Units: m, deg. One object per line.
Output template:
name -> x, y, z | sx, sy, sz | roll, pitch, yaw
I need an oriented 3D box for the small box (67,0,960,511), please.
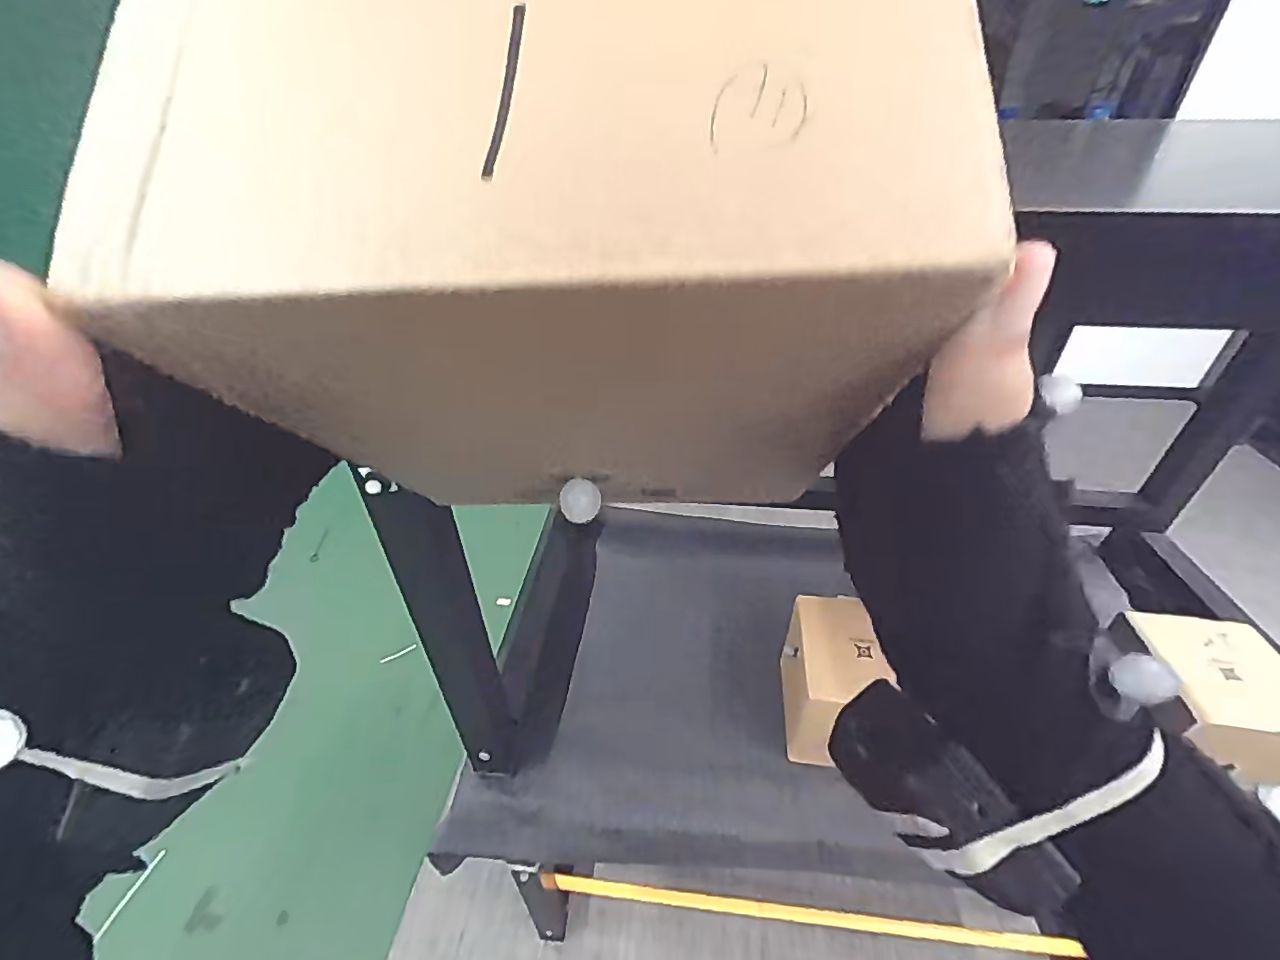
small box -> -0.020, -0.091, 0.194 | 0.168, 0.176, 0.179 | -1, 76, 5

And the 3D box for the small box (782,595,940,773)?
small box -> 0.303, 0.294, 0.783 | 0.168, 0.176, 0.179 | 4, 36, 8

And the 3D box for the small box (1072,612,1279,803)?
small box -> 0.754, 0.311, 0.745 | 0.168, 0.176, 0.179 | 5, 36, 8
